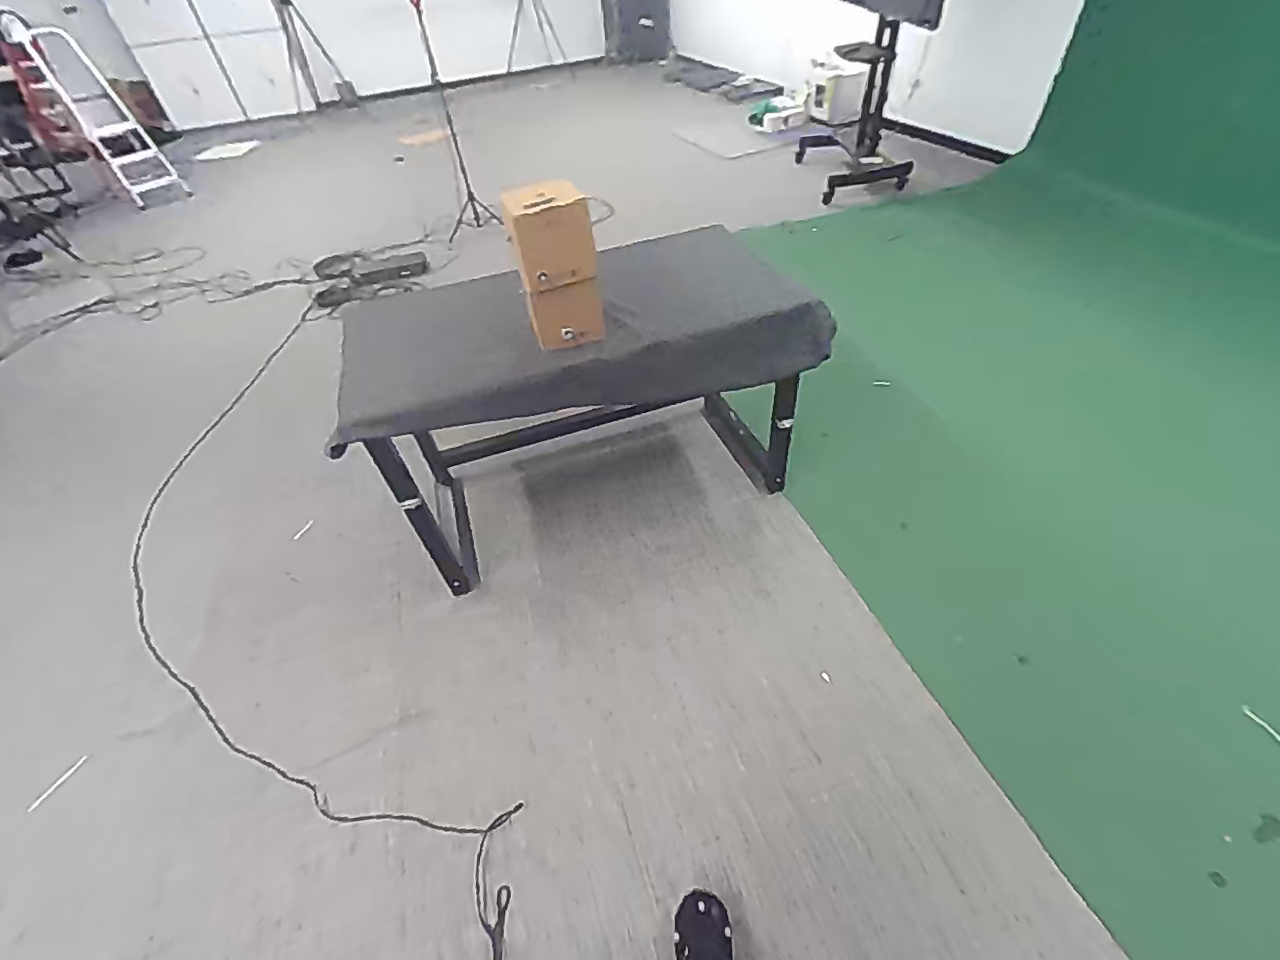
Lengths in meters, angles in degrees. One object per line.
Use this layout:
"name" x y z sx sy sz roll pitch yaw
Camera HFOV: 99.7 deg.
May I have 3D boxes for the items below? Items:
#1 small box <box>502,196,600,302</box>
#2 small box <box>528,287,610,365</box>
"small box" -0.201 -0.528 1.247 0.168 0.176 0.179 -20 43 -11
"small box" -0.184 -0.418 1.368 0.168 0.176 0.179 -17 45 -8
